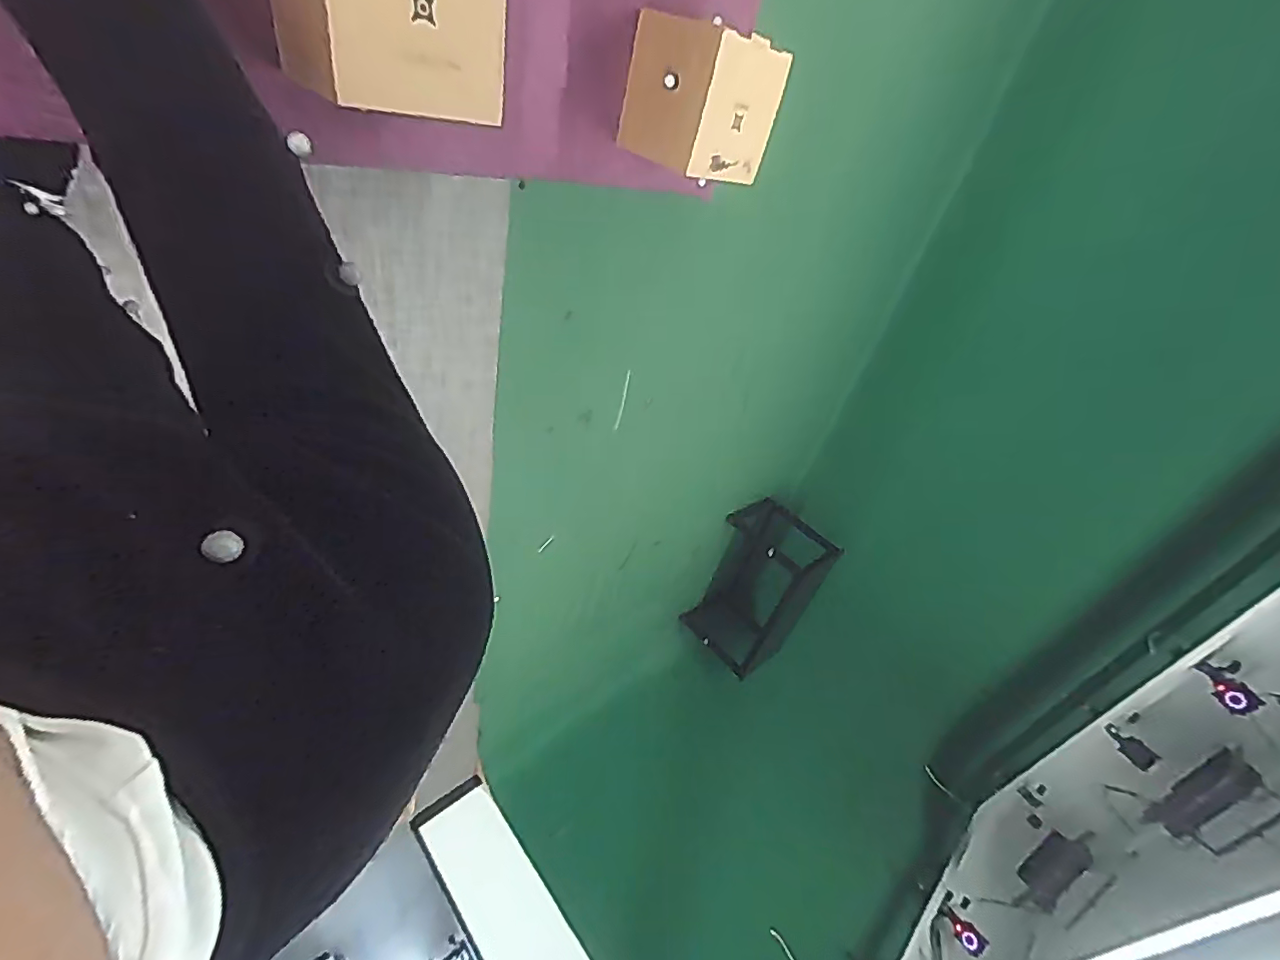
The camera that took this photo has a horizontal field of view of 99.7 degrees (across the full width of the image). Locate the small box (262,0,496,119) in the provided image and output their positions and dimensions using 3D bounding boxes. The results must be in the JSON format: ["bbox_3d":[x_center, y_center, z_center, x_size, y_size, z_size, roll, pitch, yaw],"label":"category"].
[{"bbox_3d":[-0.252,-0.475,0.515,0.168,0.176,0.179,-19,139,-38],"label":"small box"}]

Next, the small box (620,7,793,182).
[{"bbox_3d":[0.090,-0.578,0.817,0.168,0.176,0.179,-18,139,-38],"label":"small box"}]
